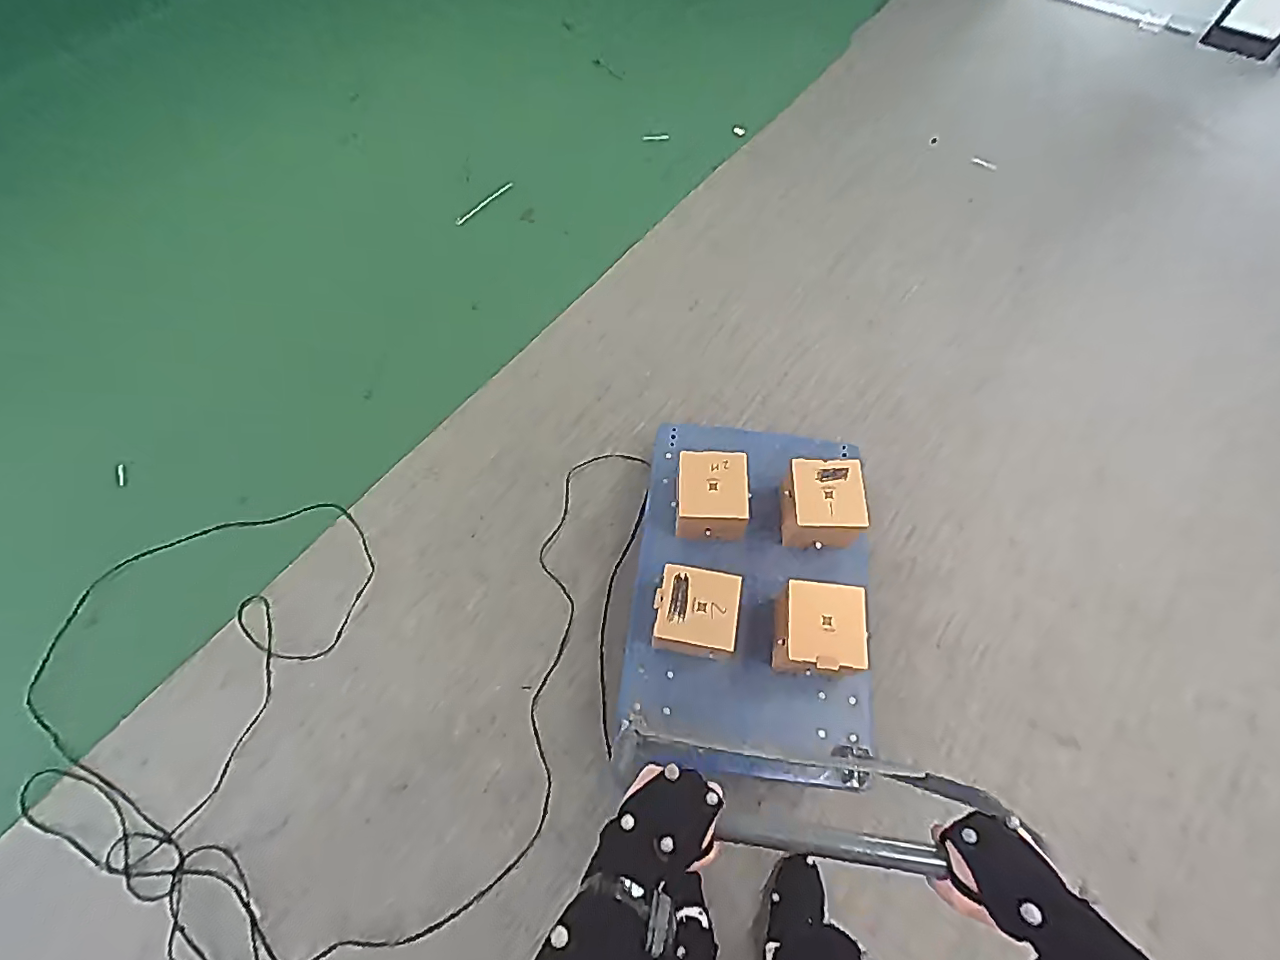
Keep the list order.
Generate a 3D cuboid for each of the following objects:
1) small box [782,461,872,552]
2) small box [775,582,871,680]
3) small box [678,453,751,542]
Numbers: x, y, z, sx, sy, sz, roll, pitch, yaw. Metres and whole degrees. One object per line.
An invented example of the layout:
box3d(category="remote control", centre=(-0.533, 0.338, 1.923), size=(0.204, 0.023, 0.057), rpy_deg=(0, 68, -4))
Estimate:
box3d(category="small box", centre=(0.457, 0.069, 1.349), size=(0.168, 0.176, 0.179), rpy_deg=(1, 66, 3))
box3d(category="small box", centre=(0.406, 0.346, 1.224), size=(0.168, 0.176, 0.179), rpy_deg=(6, 66, 4))
box3d(category="small box", centre=(0.184, 0.049, 1.365), size=(0.168, 0.176, 0.179), rpy_deg=(3, 65, 2))
